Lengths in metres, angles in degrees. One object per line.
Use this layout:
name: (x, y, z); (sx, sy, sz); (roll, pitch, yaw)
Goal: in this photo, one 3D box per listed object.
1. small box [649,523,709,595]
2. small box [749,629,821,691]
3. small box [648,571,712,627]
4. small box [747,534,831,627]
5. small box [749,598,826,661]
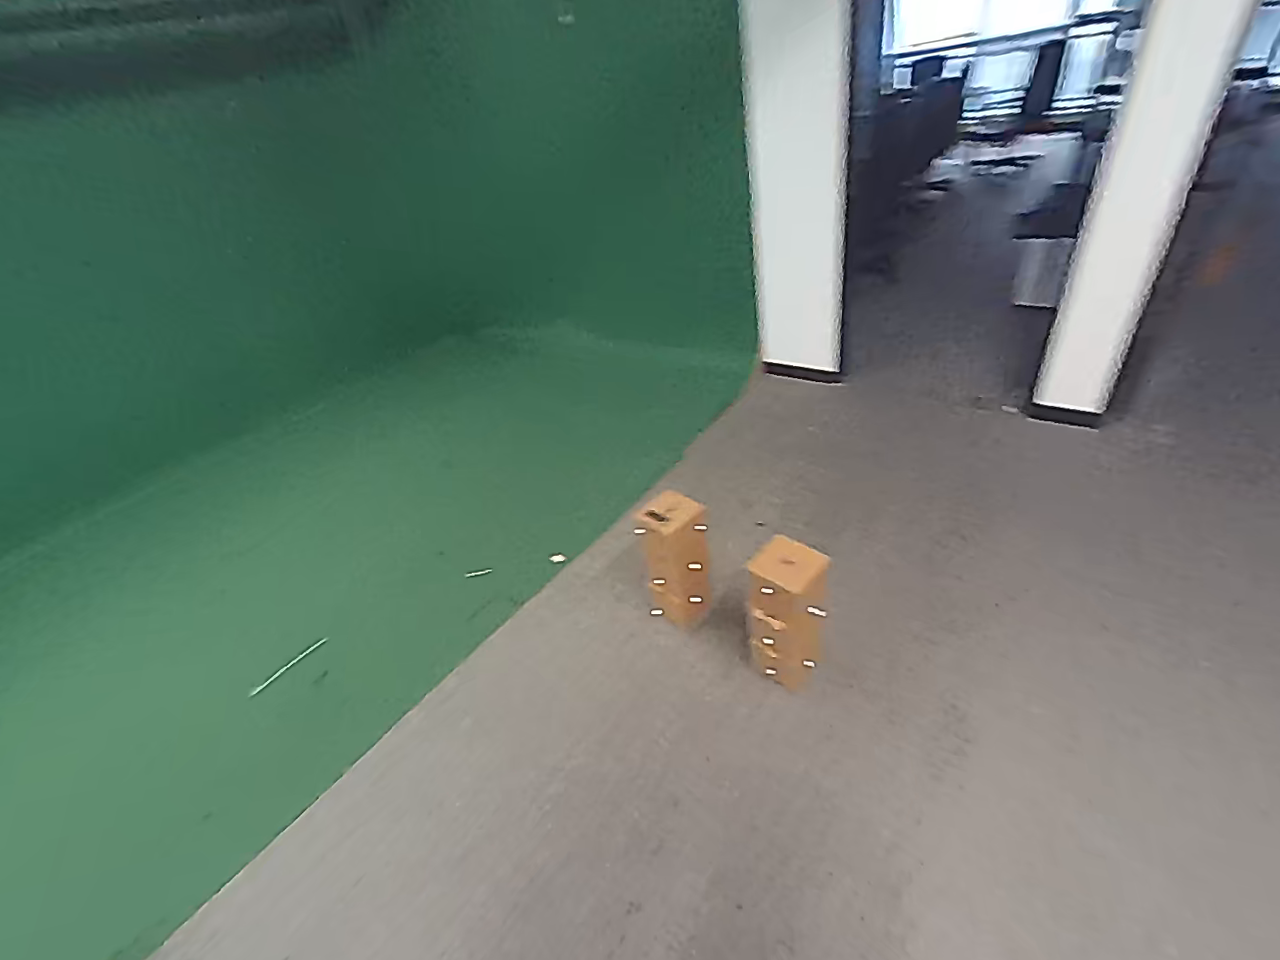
small box: (0.142, 0.288, 1.958); (0.168, 0.176, 0.179); (-17, 37, -3)
small box: (0.478, 0.553, 1.773); (0.168, 0.176, 0.179); (24, 51, 38)
small box: (0.158, 0.420, 2.039); (0.179, 0.176, 0.168); (-36, 43, -29)
small box: (0.433, 0.294, 1.577); (0.168, 0.176, 0.179); (-36, 43, -27)
small box: (0.456, 0.419, 1.680); (0.179, 0.176, 0.168); (-35, 42, -27)
